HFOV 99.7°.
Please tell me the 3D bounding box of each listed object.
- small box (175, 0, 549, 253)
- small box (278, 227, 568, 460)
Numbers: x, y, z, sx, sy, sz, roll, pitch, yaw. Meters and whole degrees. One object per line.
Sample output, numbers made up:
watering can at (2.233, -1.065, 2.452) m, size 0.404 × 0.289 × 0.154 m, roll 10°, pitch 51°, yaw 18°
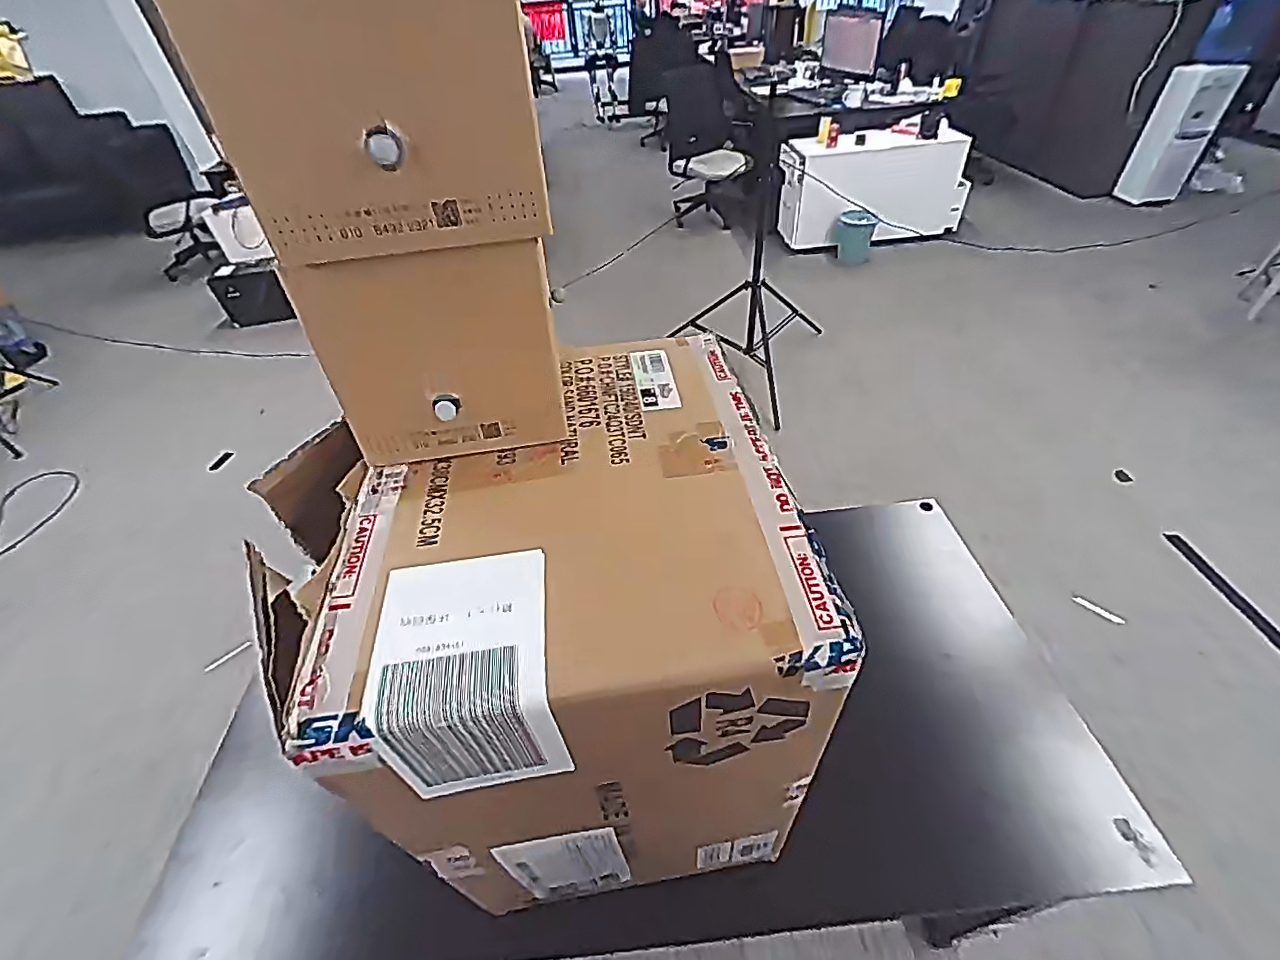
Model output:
small box at (-0.156, -0.259, 0.343) m, size 0.168 × 0.176 × 0.179 m, roll -10°, pitch 42°, yaw -7°
small box at (-0.156, -0.140, 0.457) m, size 0.168 × 0.176 × 0.179 m, roll -9°, pitch 42°, yaw -6°
